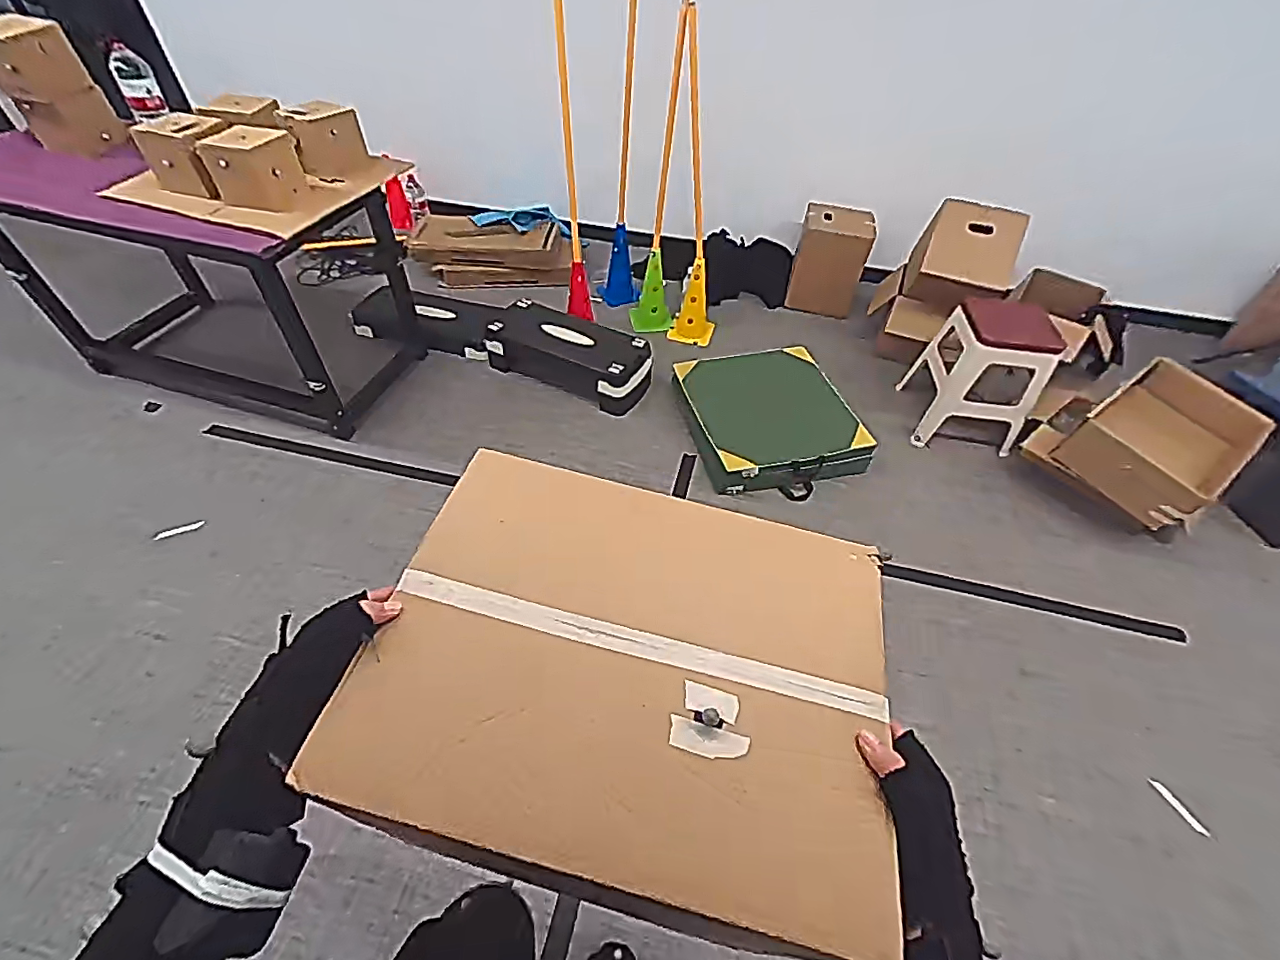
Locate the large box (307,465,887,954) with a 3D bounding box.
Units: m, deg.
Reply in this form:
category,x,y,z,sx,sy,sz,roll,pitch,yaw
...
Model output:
category,x,y,z,sx,sy,sz,roll,pitch,yaw
large box,-0.020,0.234,0.561,0.408,0.320,0.320,15,51,4
